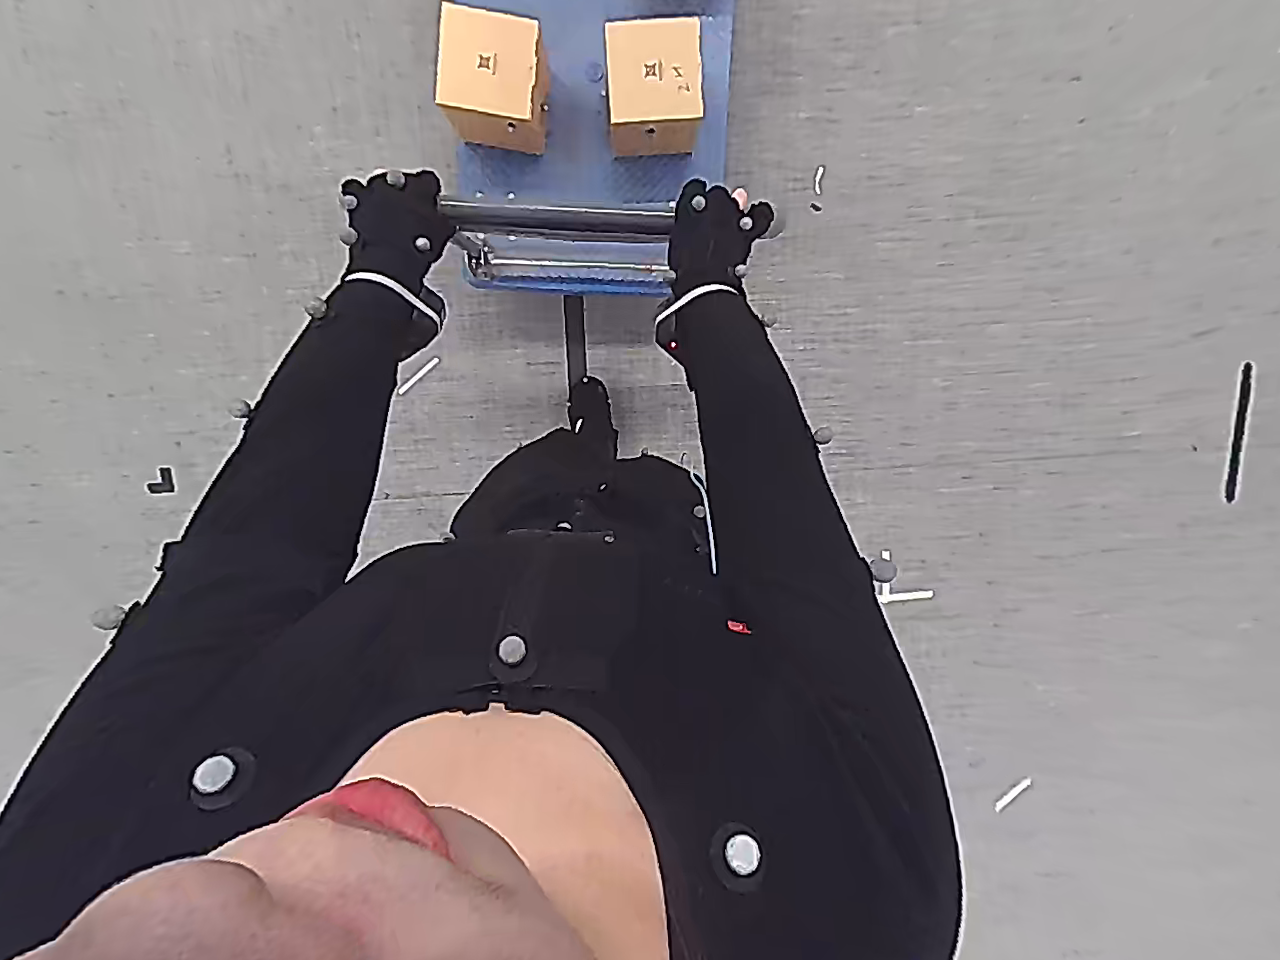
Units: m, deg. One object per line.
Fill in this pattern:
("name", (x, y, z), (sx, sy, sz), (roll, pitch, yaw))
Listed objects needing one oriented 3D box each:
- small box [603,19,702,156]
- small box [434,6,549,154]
("small box", (0.023, -0.756, 1.061), (0.179, 0.176, 0.168), (-4, 102, -1))
("small box", (-0.281, -0.762, 1.051), (0.179, 0.176, 0.168), (7, 101, -5))
